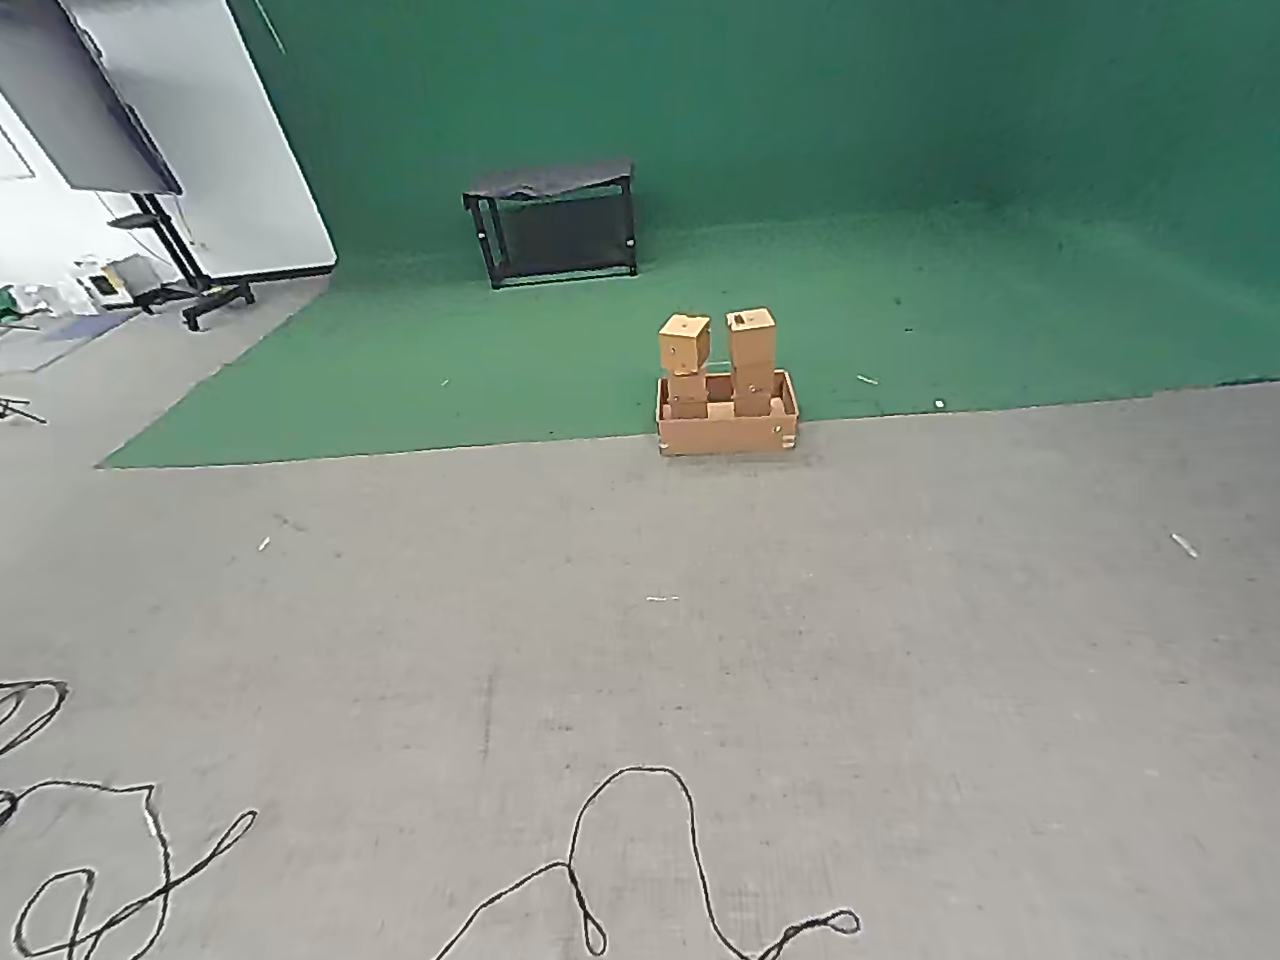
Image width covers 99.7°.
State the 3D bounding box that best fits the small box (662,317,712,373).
[{"bbox_3d":[0.205,-0.576,2.310,0.168,0.176,0.179,13,43,21],"label":"small box"}]

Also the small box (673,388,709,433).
[{"bbox_3d":[0.237,-0.339,2.533,0.168,0.176,0.179,-3,40,4],"label":"small box"}]

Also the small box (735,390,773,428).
[{"bbox_3d":[0.528,-0.362,2.524,0.168,0.176,0.179,0,41,9],"label":"small box"}]

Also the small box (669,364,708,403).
[{"bbox_3d":[0.217,-0.456,2.421,0.168,0.176,0.179,-2,40,4],"label":"small box"}]

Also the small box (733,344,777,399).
[{"bbox_3d":[0.510,-0.484,2.417,0.168,0.176,0.179,-8,42,3],"label":"small box"}]
